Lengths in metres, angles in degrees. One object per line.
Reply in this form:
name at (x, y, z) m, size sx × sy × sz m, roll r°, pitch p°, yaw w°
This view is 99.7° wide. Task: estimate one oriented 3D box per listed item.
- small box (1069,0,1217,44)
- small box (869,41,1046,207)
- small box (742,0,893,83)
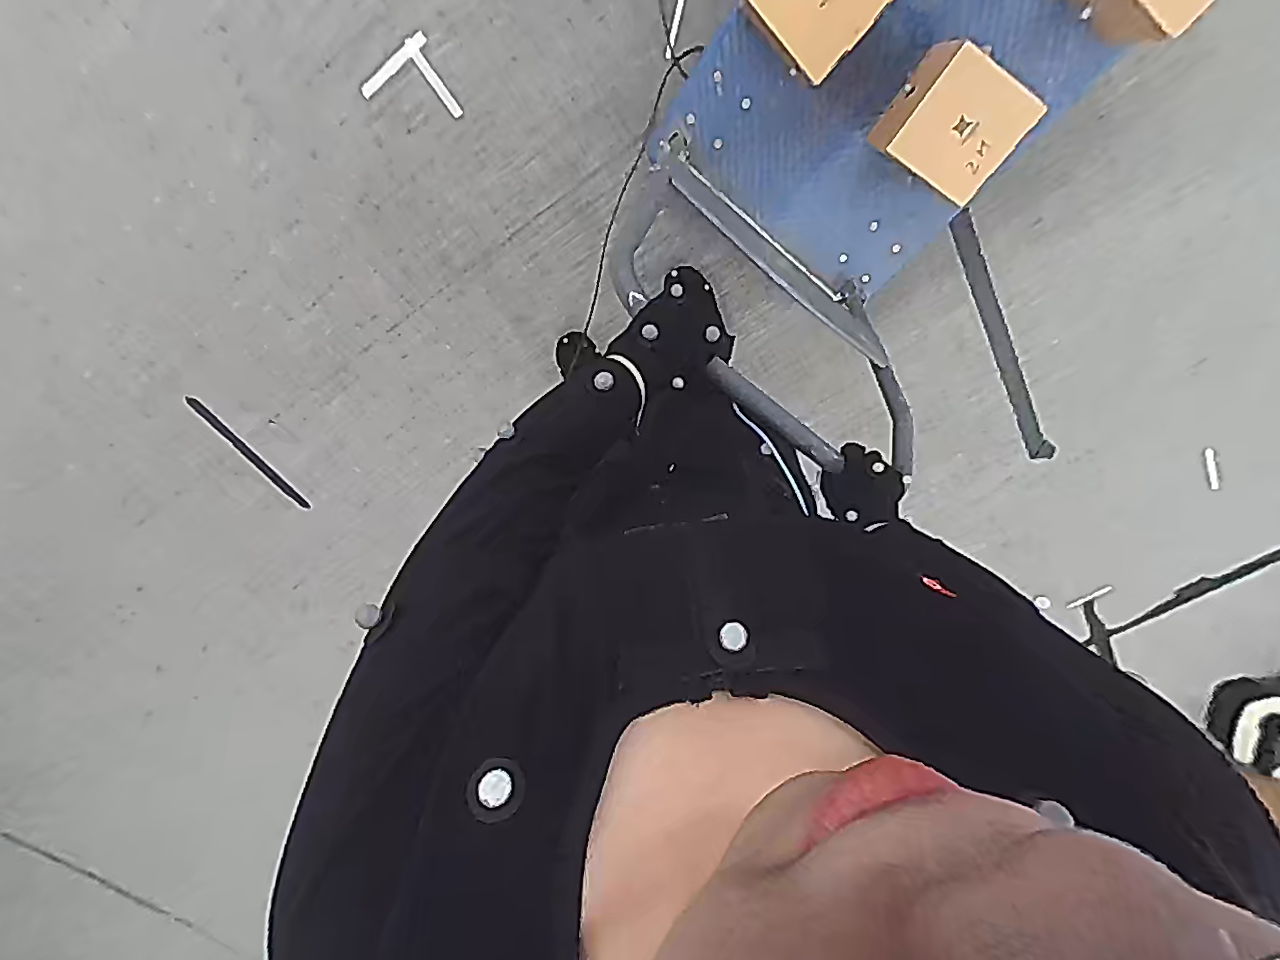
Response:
small box at (0.752, -0.767, 0.768) m, size 0.168 × 0.176 × 0.179 m, roll 31°, pitch 127°, yaw -14°
small box at (0.526, -0.606, 0.927) m, size 0.179 × 0.176 × 0.168 m, roll 28°, pitch 126°, yaw -13°
small box at (0.275, -0.764, 0.846) m, size 0.179 × 0.176 × 0.168 m, roll 36°, pitch 124°, yaw -20°
